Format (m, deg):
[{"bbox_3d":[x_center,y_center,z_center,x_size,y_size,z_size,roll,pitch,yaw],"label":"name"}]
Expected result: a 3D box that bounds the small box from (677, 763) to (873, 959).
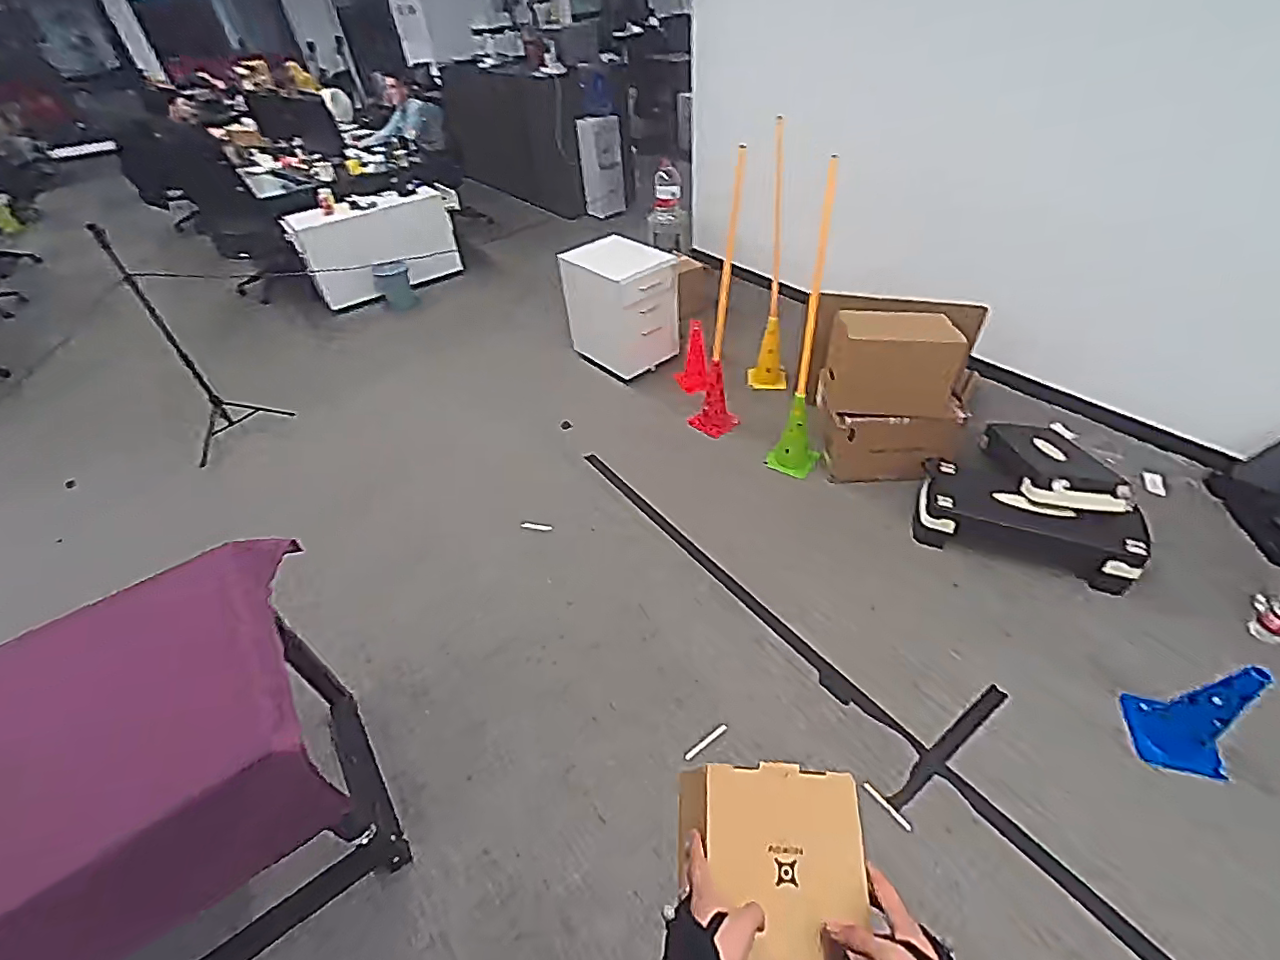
[{"bbox_3d":[0.135,0.423,0.605,0.168,0.176,0.179,5,59,-3],"label":"small box"}]
